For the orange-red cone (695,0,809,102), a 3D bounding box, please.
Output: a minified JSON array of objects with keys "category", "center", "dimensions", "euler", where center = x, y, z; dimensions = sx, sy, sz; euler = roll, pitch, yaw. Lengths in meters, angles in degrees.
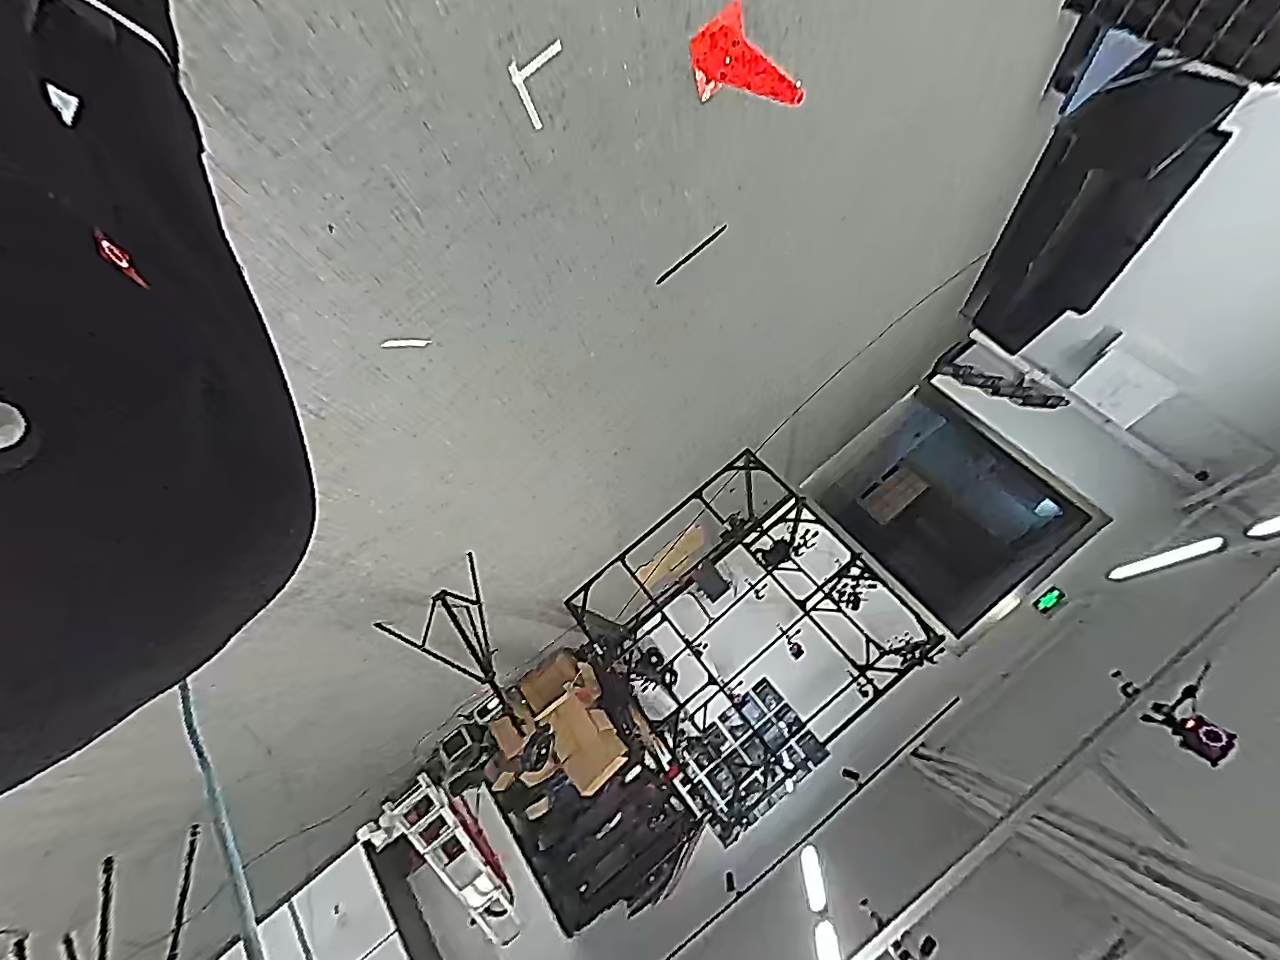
[{"category":"orange-red cone","center":[0.358,-1.213,1.601],"dimensions":[0.199,0.360,0.198],"euler":[-43,157,0]}]
